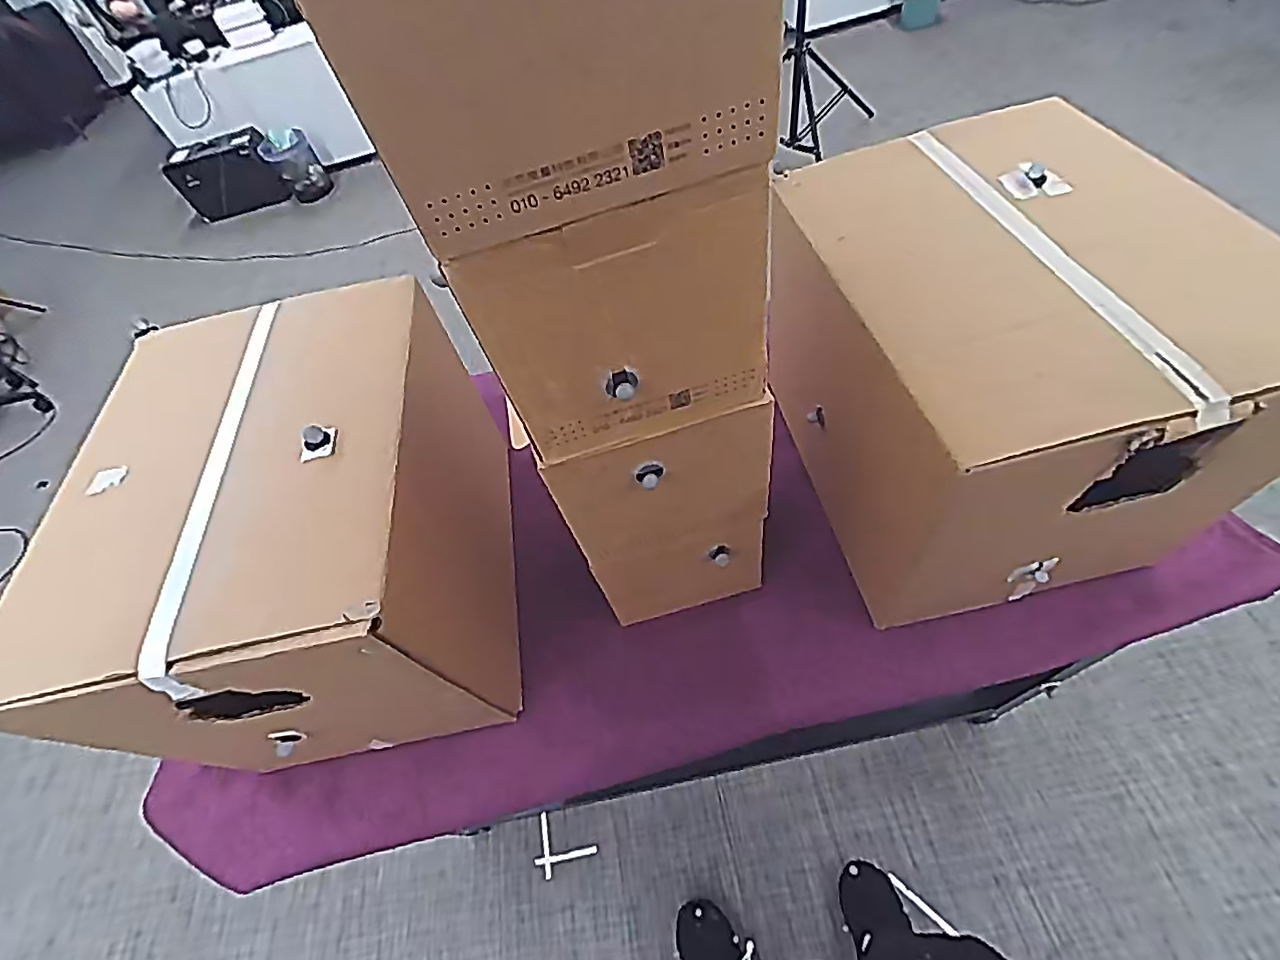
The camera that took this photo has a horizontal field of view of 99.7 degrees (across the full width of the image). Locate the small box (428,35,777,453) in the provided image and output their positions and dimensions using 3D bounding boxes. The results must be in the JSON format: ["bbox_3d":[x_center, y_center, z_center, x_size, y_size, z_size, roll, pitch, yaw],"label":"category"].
[{"bbox_3d":[-0.023,-0.149,0.359,0.168,0.176,0.179,-18,55,-1],"label":"small box"}]

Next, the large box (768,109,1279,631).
[{"bbox_3d":[0.346,-0.110,0.574,0.320,0.320,0.408,-14,53,2],"label":"large box"}]
